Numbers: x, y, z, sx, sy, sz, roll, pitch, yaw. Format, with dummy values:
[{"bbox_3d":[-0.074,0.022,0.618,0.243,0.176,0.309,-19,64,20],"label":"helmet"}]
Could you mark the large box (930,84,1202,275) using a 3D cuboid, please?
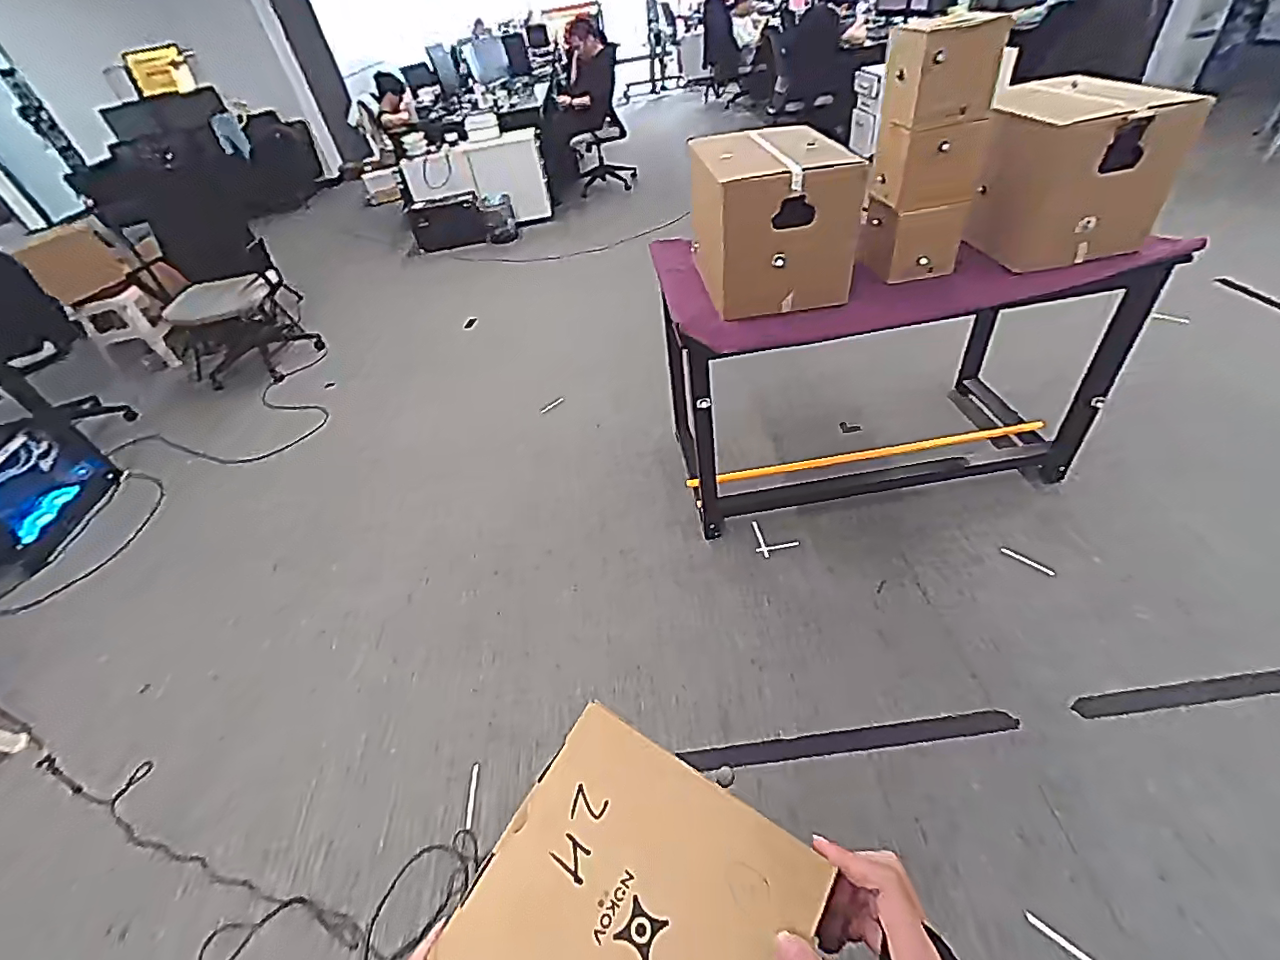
[{"bbox_3d":[0.995,-0.751,1.342,0.320,0.320,0.408,-10,41,1],"label":"large box"}]
